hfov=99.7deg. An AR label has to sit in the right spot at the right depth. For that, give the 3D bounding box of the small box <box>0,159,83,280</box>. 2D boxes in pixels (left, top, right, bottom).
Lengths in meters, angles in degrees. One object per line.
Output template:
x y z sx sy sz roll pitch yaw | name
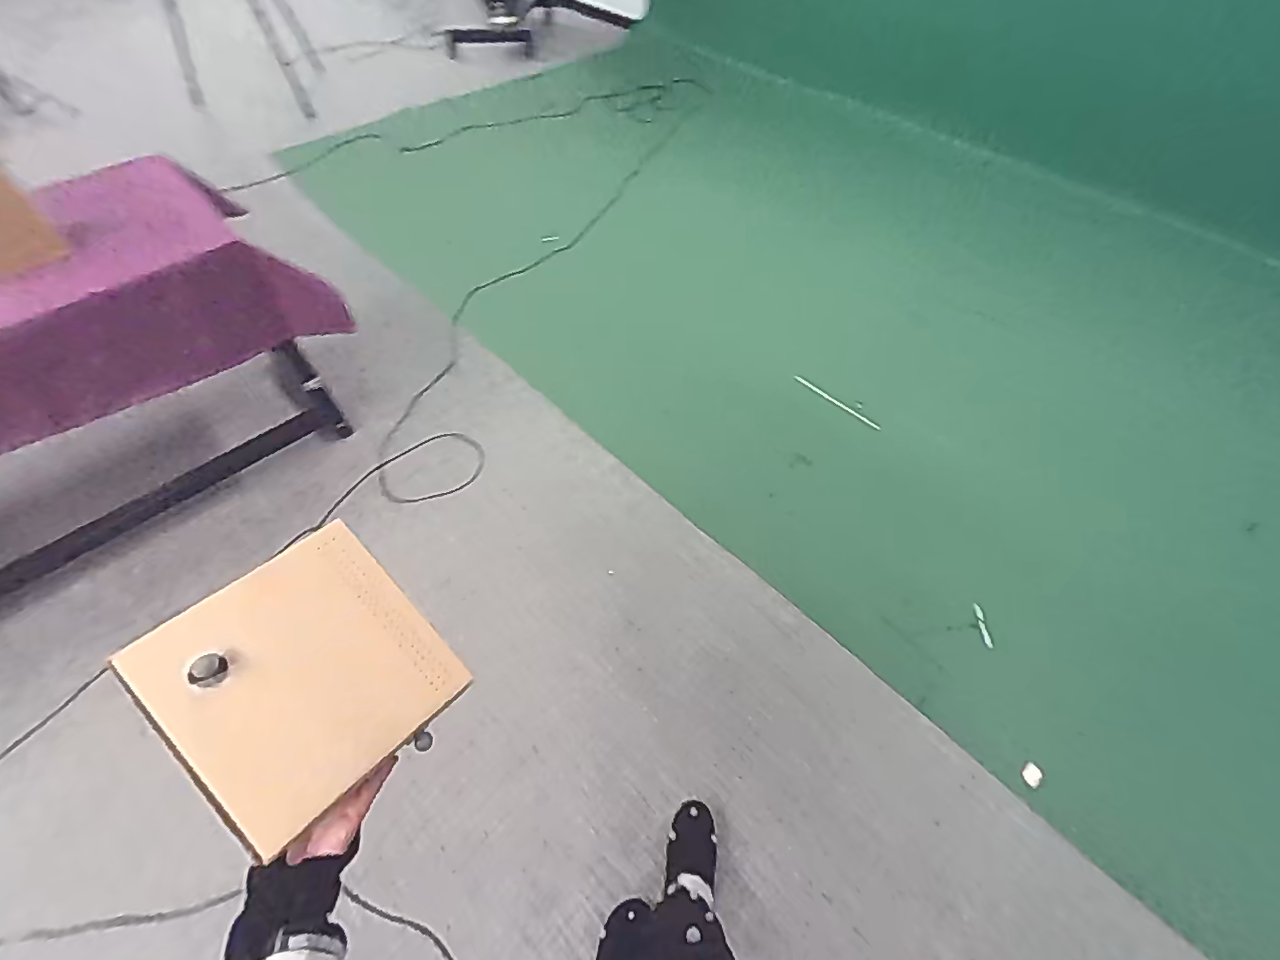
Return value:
-1.436 -0.582 1.217 0.179 0.176 0.168 -37 64 -24 | small box

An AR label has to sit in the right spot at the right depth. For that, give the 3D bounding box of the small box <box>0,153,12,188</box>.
-1.436 -0.677 1.083 0.179 0.176 0.168 -39 64 -24 | small box

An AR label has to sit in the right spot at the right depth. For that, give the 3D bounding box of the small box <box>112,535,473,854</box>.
-0.272 0.169 0.468 0.179 0.168 0.176 45 60 4 | small box
